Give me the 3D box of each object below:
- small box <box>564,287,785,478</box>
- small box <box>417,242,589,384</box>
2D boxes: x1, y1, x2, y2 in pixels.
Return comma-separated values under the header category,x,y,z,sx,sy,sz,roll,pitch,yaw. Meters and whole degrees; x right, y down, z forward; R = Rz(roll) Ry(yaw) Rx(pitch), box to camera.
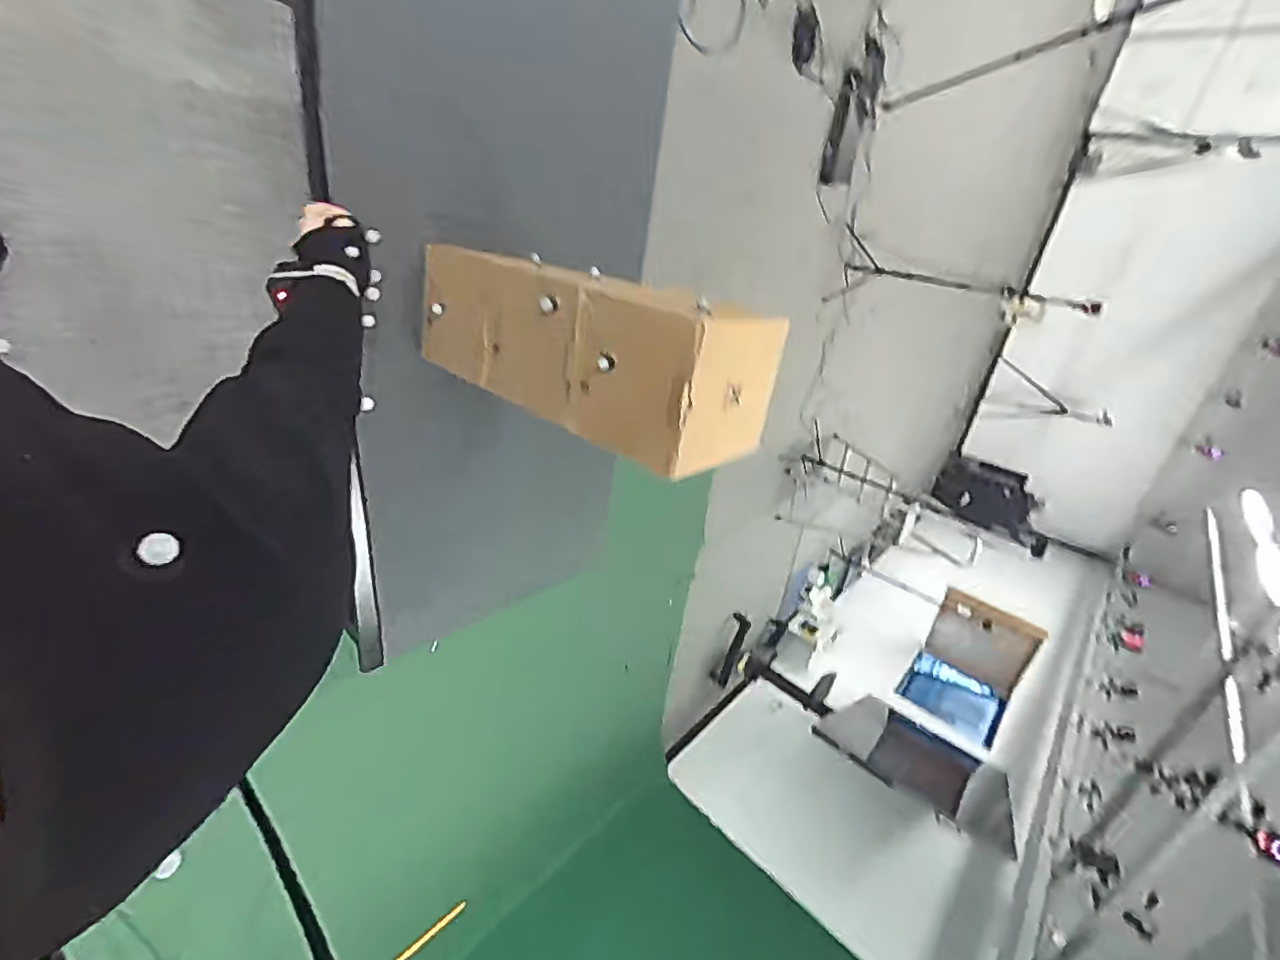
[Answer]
category,x,y,z,sx,sy,sz,roll,pitch,yaw
small box,0.037,-0.124,0.632,0.179,0.176,0.168,-19,128,-46
small box,-0.207,-0.248,0.812,0.179,0.176,0.168,-13,123,-48
